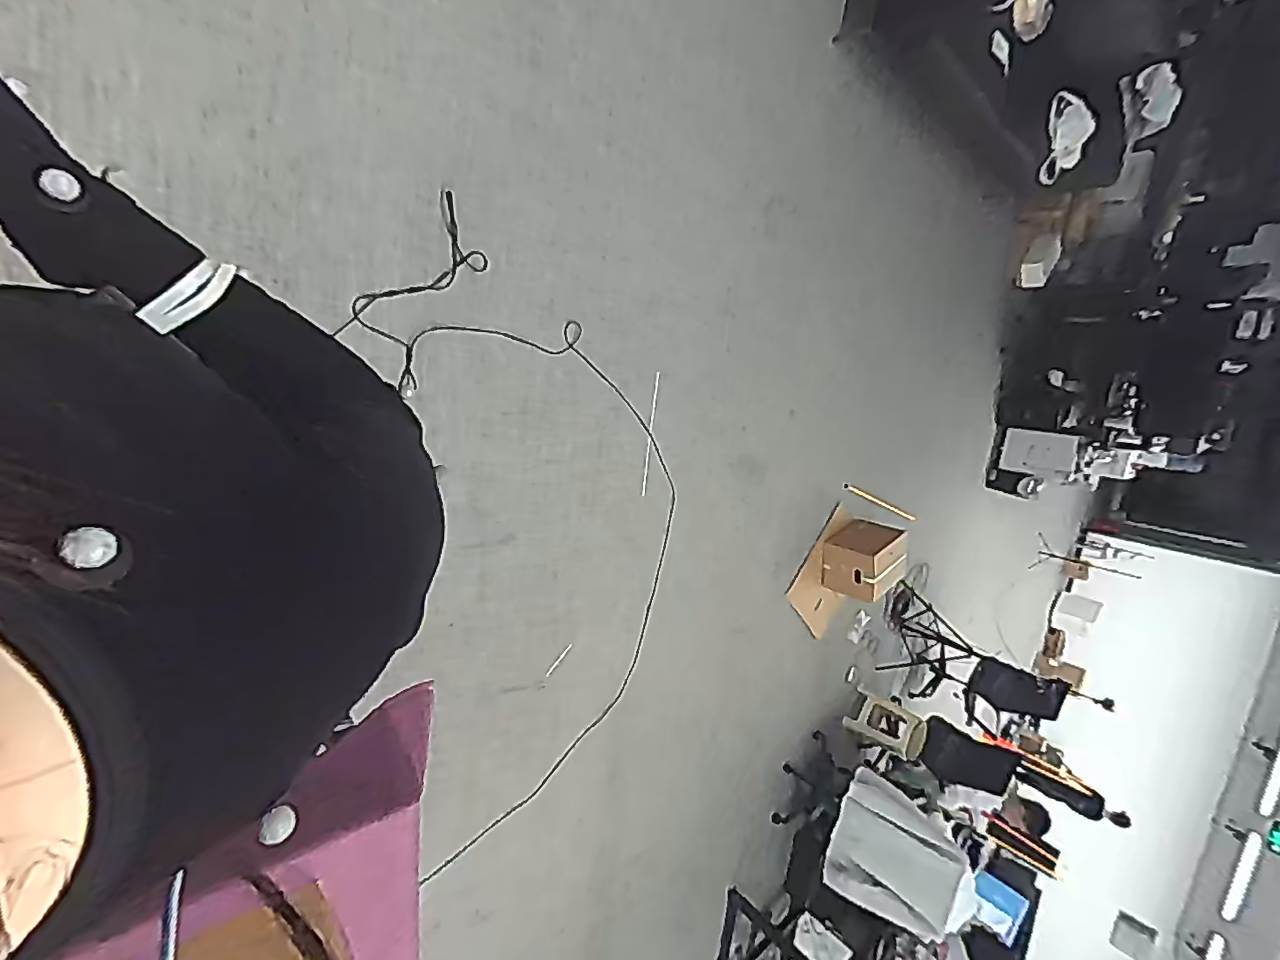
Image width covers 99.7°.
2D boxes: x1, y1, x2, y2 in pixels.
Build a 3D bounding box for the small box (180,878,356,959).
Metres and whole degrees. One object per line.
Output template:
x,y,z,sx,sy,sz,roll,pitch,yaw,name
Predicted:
-0.500,0.700,0.731,0.179,0.176,0.168,-4,105,-42,small box
